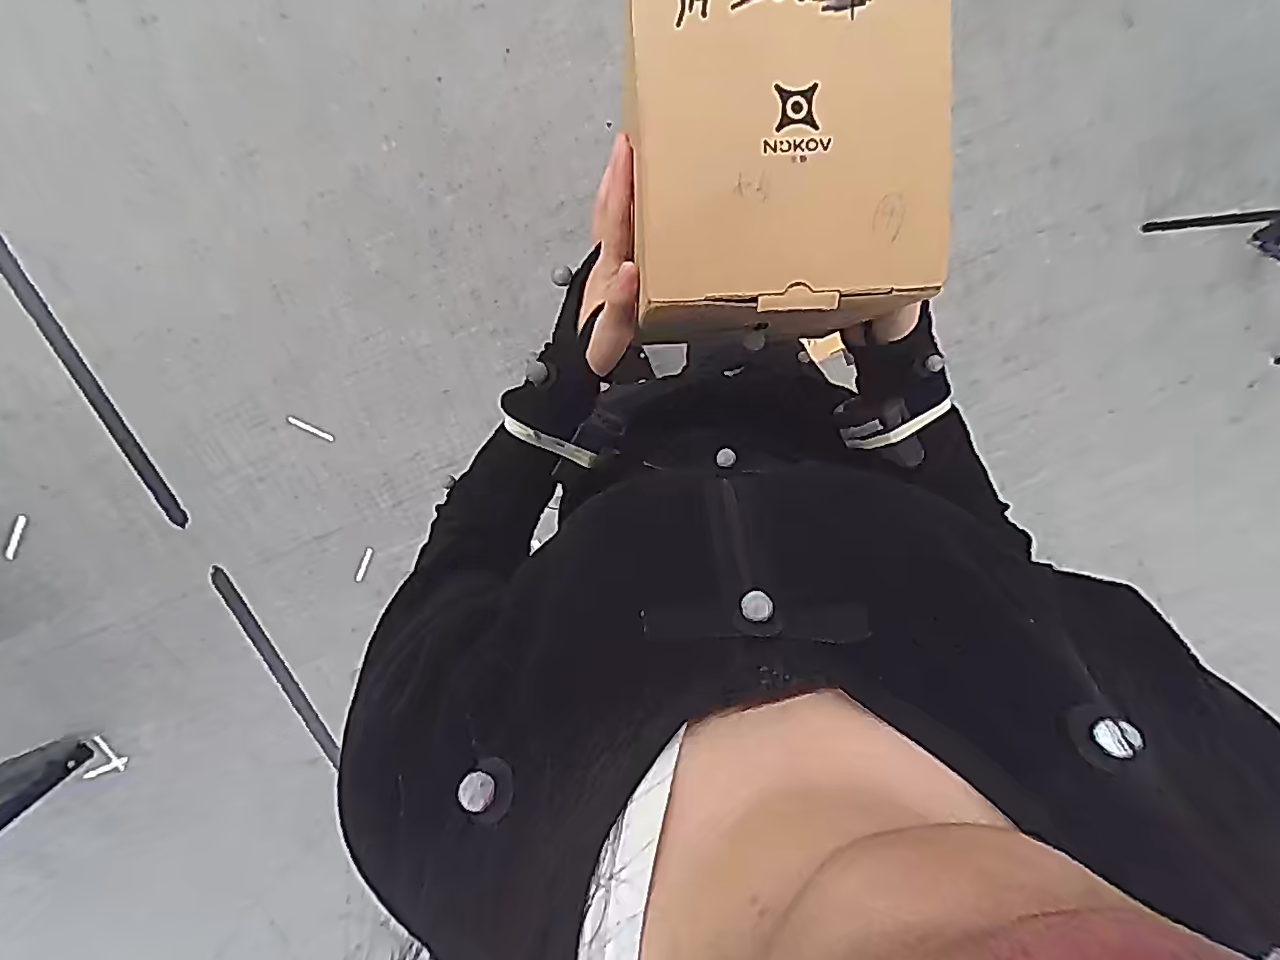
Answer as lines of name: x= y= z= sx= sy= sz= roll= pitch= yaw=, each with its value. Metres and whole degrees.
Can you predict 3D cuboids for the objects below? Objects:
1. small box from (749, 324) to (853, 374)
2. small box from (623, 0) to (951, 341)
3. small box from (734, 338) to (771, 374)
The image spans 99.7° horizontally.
small box: x=0.329 y=-0.344 z=1.175 sx=0.168 sy=0.176 sz=0.179 roll=-24 pitch=105 yaw=4
small box: x=0.075 y=-0.189 z=0.361 sx=0.168 sy=0.176 sz=0.179 roll=-4 pitch=98 yaw=-3
small box: x=0.326 y=-0.382 z=1.336 sx=0.168 sy=0.176 sz=0.179 roll=-26 pitch=105 yaw=4
